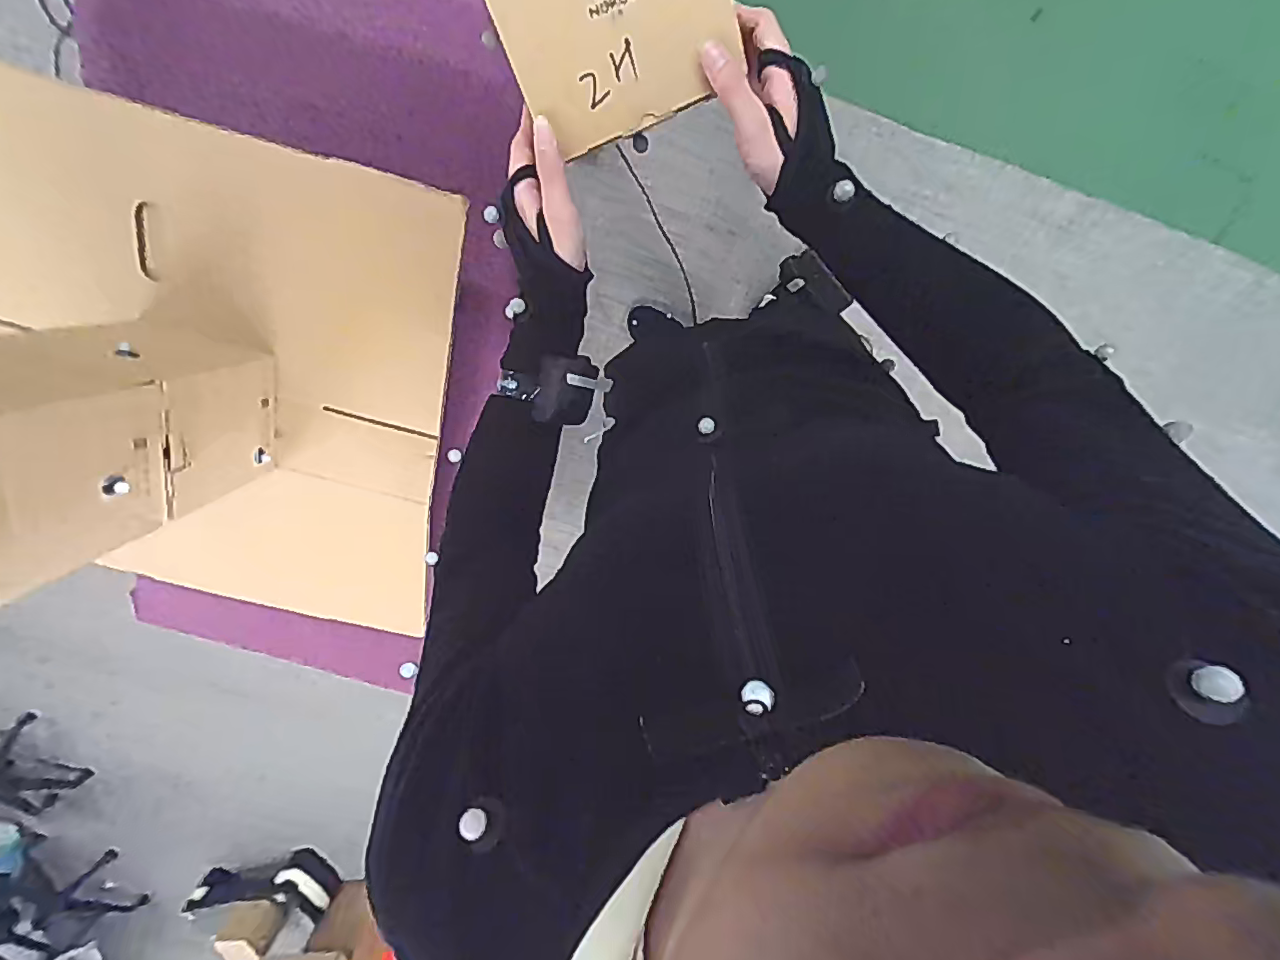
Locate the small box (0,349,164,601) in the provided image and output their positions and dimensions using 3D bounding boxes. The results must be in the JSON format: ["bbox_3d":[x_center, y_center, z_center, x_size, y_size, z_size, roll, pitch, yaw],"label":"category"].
[{"bbox_3d":[-0.584,-0.014,0.481,0.179,0.176,0.168,13,111,-3],"label":"small box"}]

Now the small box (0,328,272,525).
[{"bbox_3d":[-0.566,-0.072,0.631,0.179,0.176,0.168,15,111,-2],"label":"small box"}]
